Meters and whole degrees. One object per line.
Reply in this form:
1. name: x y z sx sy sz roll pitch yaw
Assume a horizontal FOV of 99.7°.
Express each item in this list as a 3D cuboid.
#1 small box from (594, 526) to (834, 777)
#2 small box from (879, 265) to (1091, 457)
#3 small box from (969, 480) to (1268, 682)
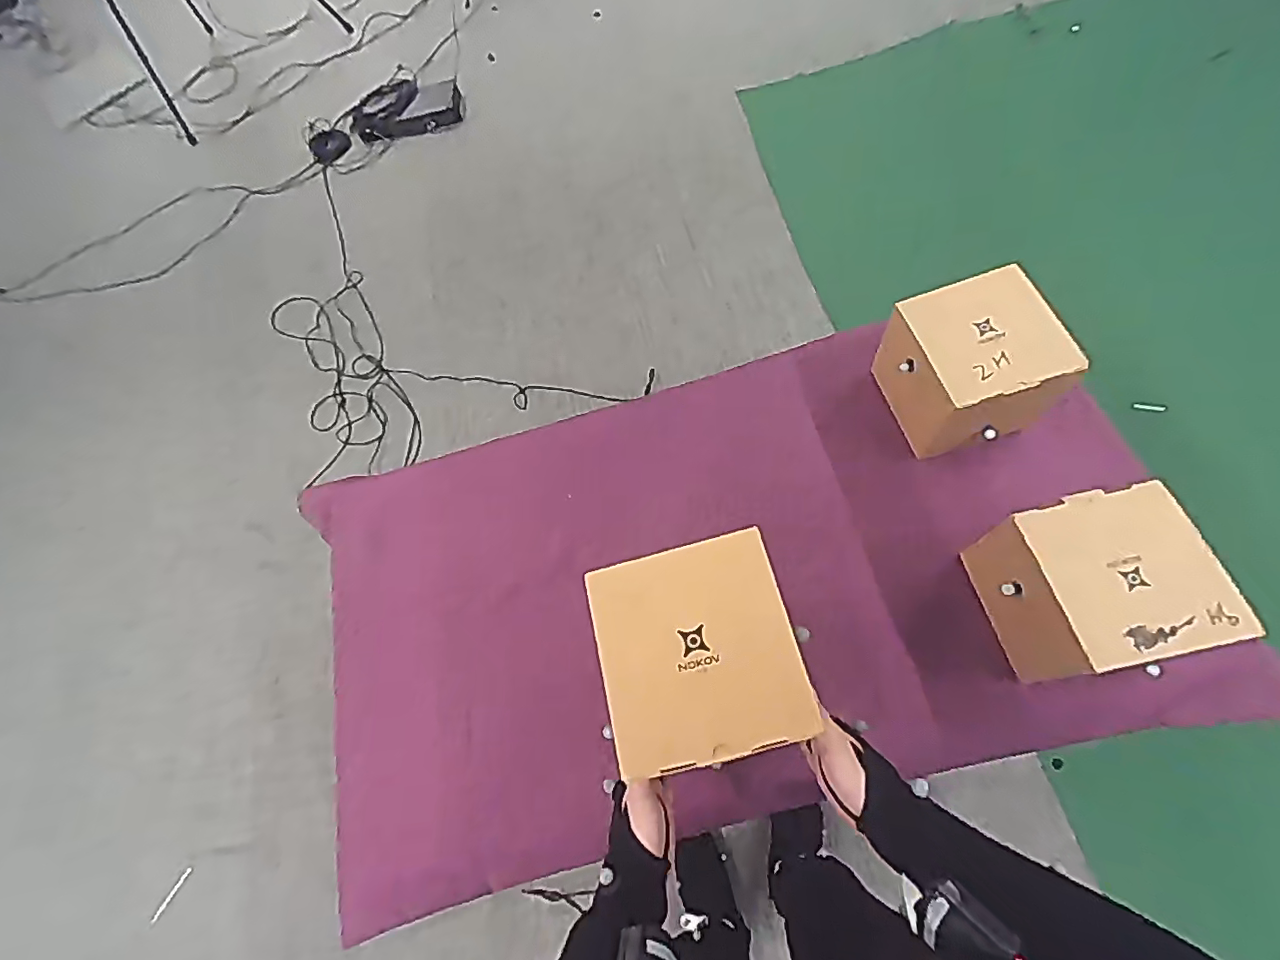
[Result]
1. small box: 0.065 0.168 0.524 0.168 0.176 0.179 -16 66 3
2. small box: 0.463 -0.159 0.765 0.168 0.176 0.179 -18 67 5
3. small box: 0.529 0.127 0.638 0.168 0.176 0.179 -15 64 5
